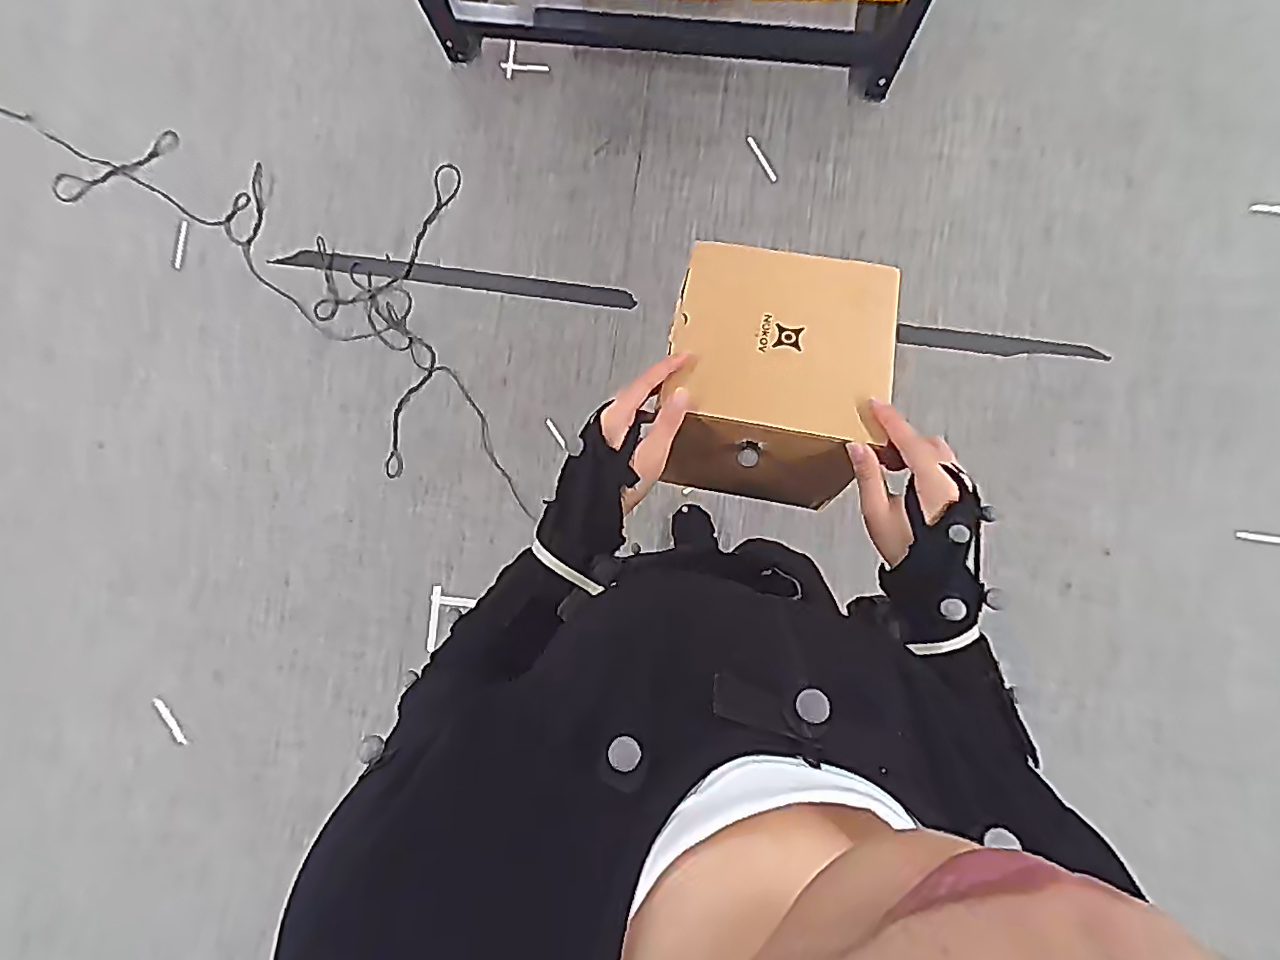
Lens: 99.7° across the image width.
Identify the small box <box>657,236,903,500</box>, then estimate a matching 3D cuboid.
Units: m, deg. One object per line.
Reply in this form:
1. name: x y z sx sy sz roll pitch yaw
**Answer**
1. small box: 0.116 -0.089 0.499 0.179 0.176 0.168 10 71 6
